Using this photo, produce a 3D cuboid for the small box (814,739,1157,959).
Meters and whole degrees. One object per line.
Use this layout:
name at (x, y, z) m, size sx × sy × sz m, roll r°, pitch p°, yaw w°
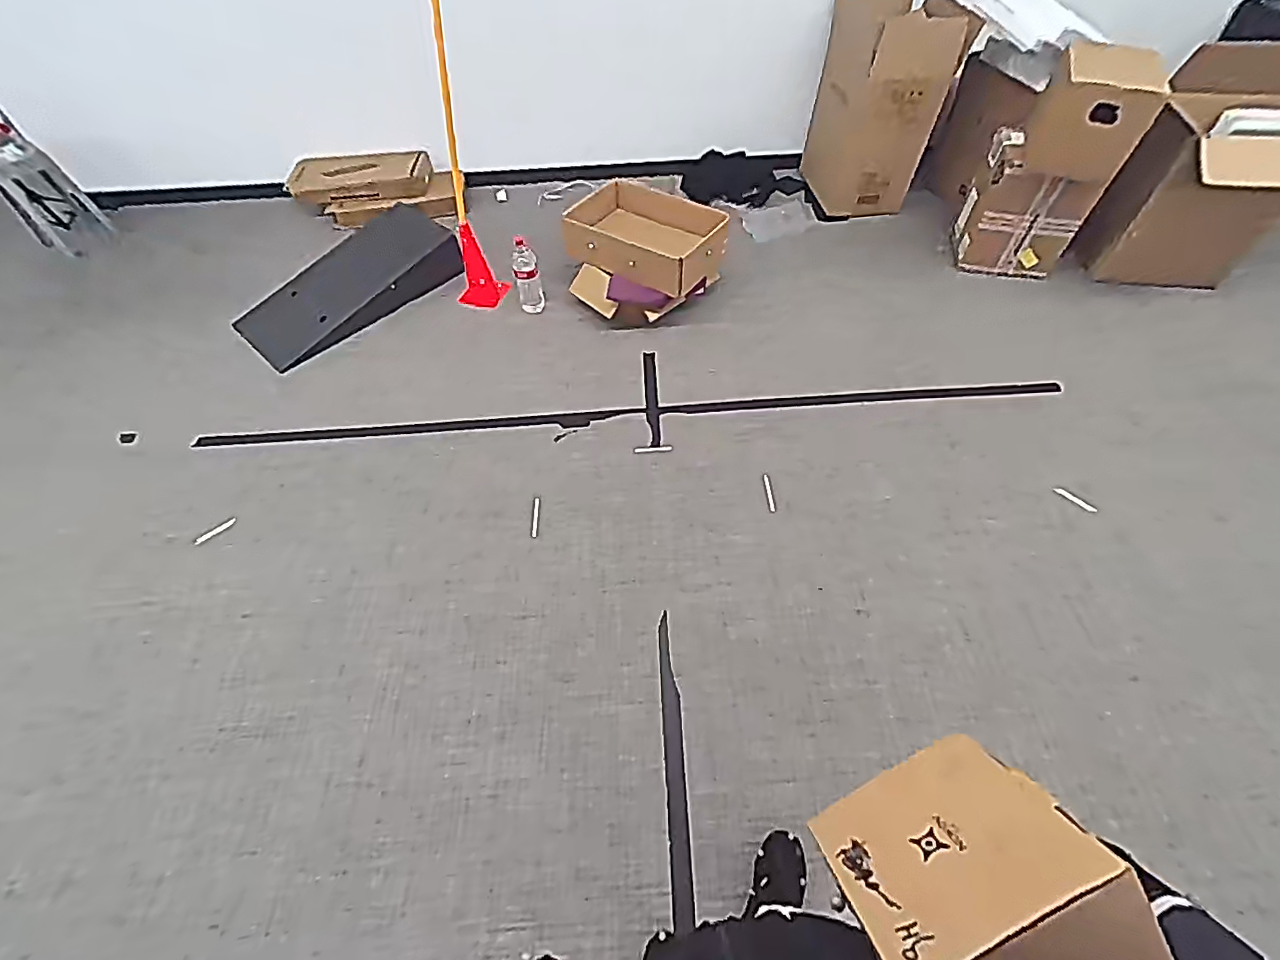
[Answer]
small box at (0.285, 0.370, 0.455) m, size 0.179 × 0.168 × 0.176 m, roll -28°, pitch 96°, yaw -3°
